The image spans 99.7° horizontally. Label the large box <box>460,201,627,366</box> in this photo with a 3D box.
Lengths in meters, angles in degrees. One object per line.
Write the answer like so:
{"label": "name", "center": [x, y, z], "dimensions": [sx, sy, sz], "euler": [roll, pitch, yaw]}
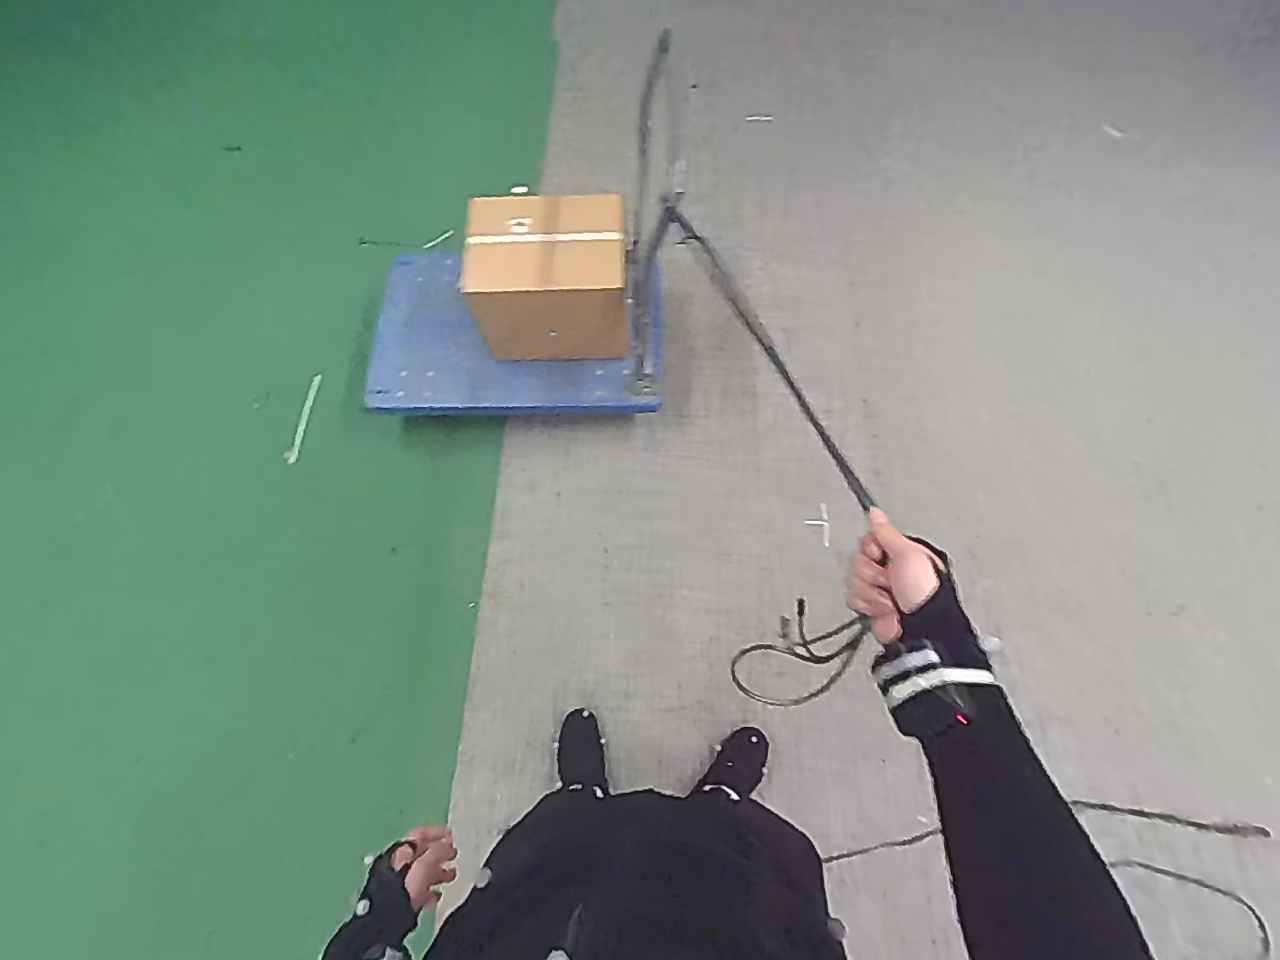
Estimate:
{"label": "large box", "center": [-0.246, -0.540, 1.525], "dimensions": [0.408, 0.320, 0.320], "euler": [-2, 68, 1]}
